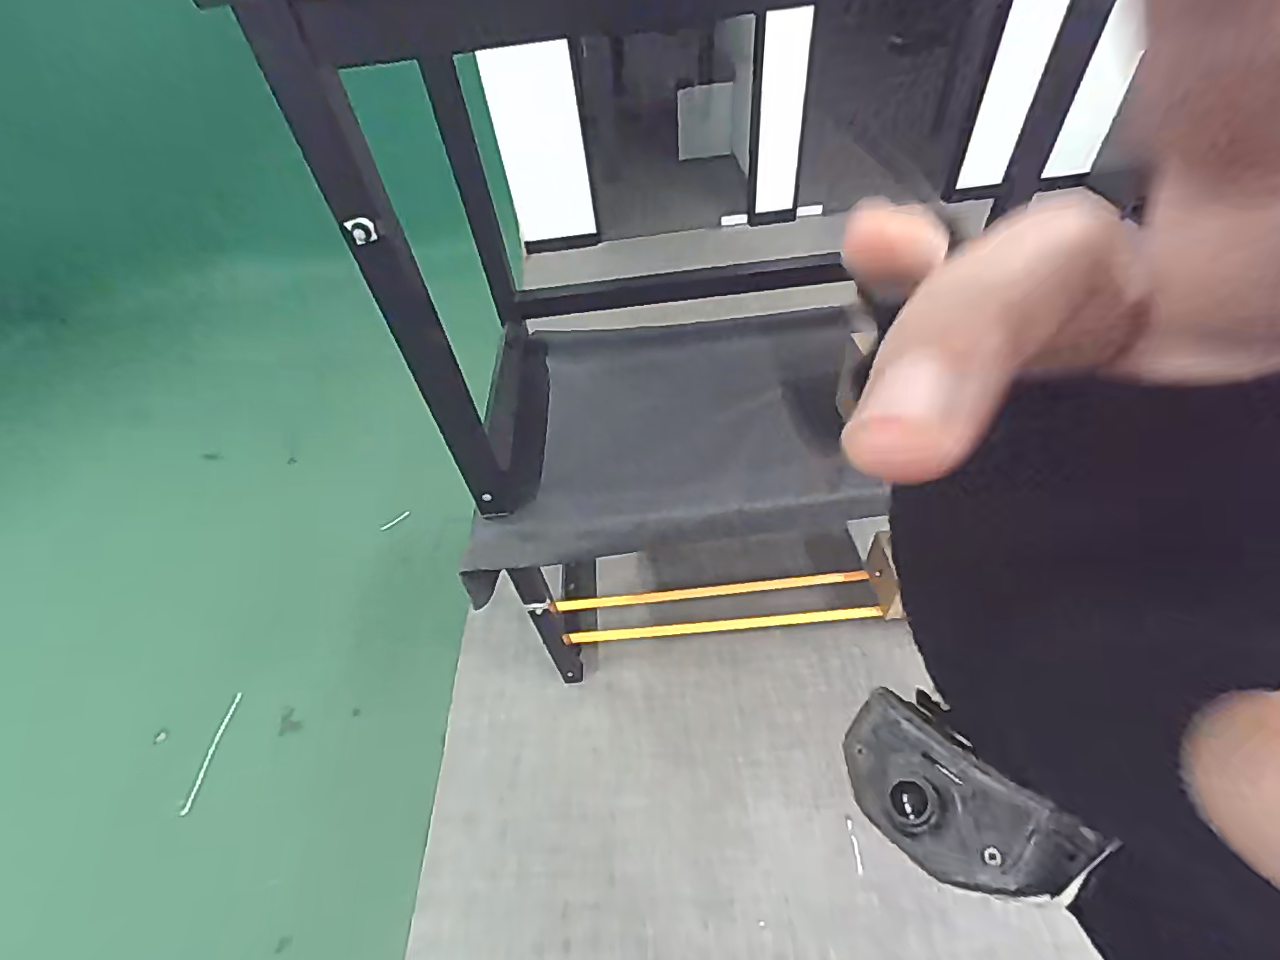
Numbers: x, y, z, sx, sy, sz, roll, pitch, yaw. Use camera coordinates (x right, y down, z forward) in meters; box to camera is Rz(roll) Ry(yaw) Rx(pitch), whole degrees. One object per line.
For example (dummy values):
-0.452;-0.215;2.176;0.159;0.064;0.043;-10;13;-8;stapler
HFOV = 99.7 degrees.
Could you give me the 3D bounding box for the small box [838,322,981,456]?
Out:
0.482;-0.167;1.004;0.168;0.176;0.179;-7;46;2;small box
